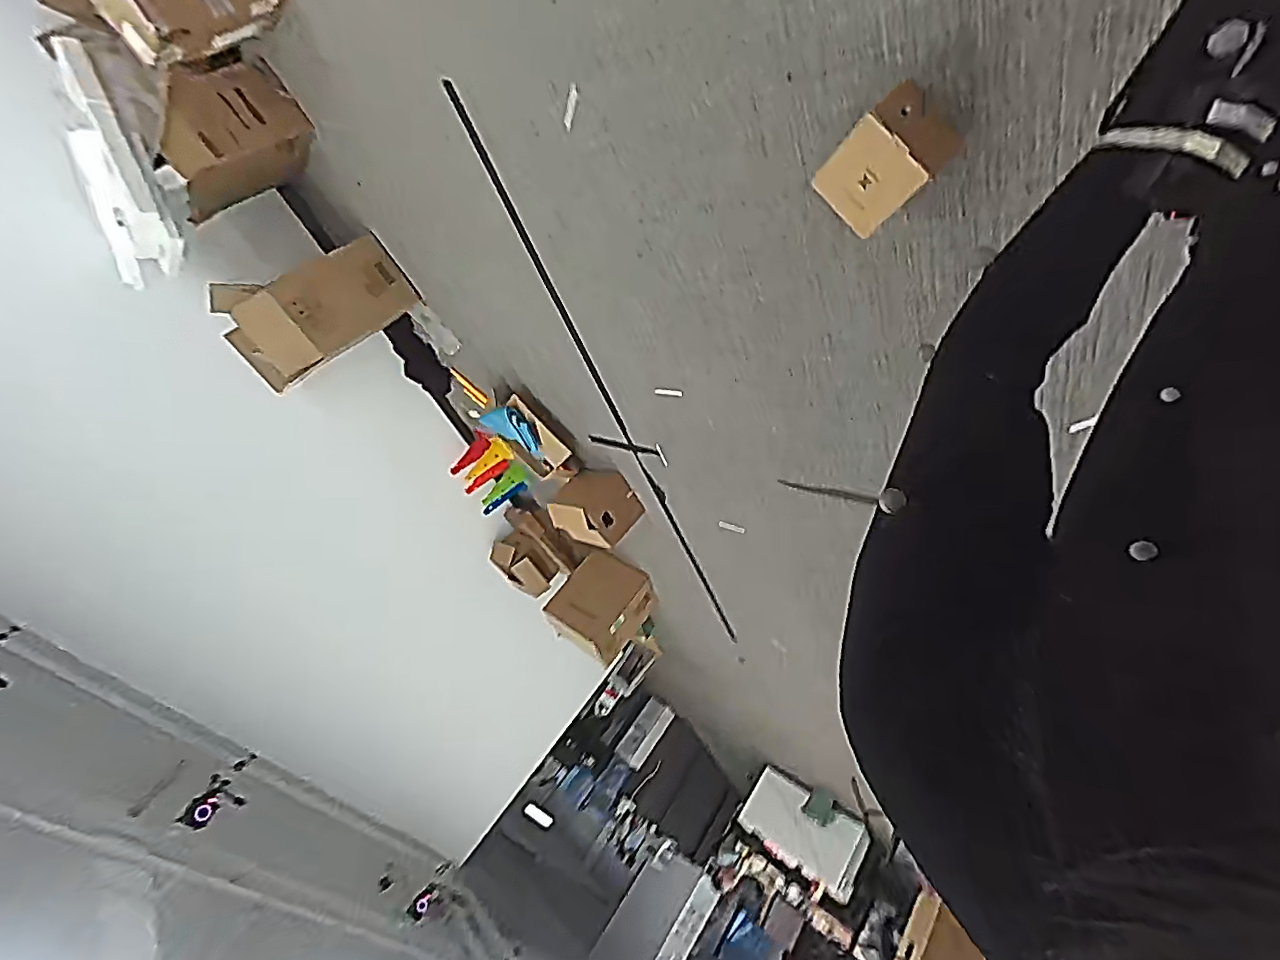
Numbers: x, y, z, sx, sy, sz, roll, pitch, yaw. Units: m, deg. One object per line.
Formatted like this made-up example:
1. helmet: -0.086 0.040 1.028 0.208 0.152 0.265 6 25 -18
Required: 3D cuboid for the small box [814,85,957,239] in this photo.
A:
1. small box: 0.491 -0.631 1.073 0.168 0.176 0.179 45 155 -2
